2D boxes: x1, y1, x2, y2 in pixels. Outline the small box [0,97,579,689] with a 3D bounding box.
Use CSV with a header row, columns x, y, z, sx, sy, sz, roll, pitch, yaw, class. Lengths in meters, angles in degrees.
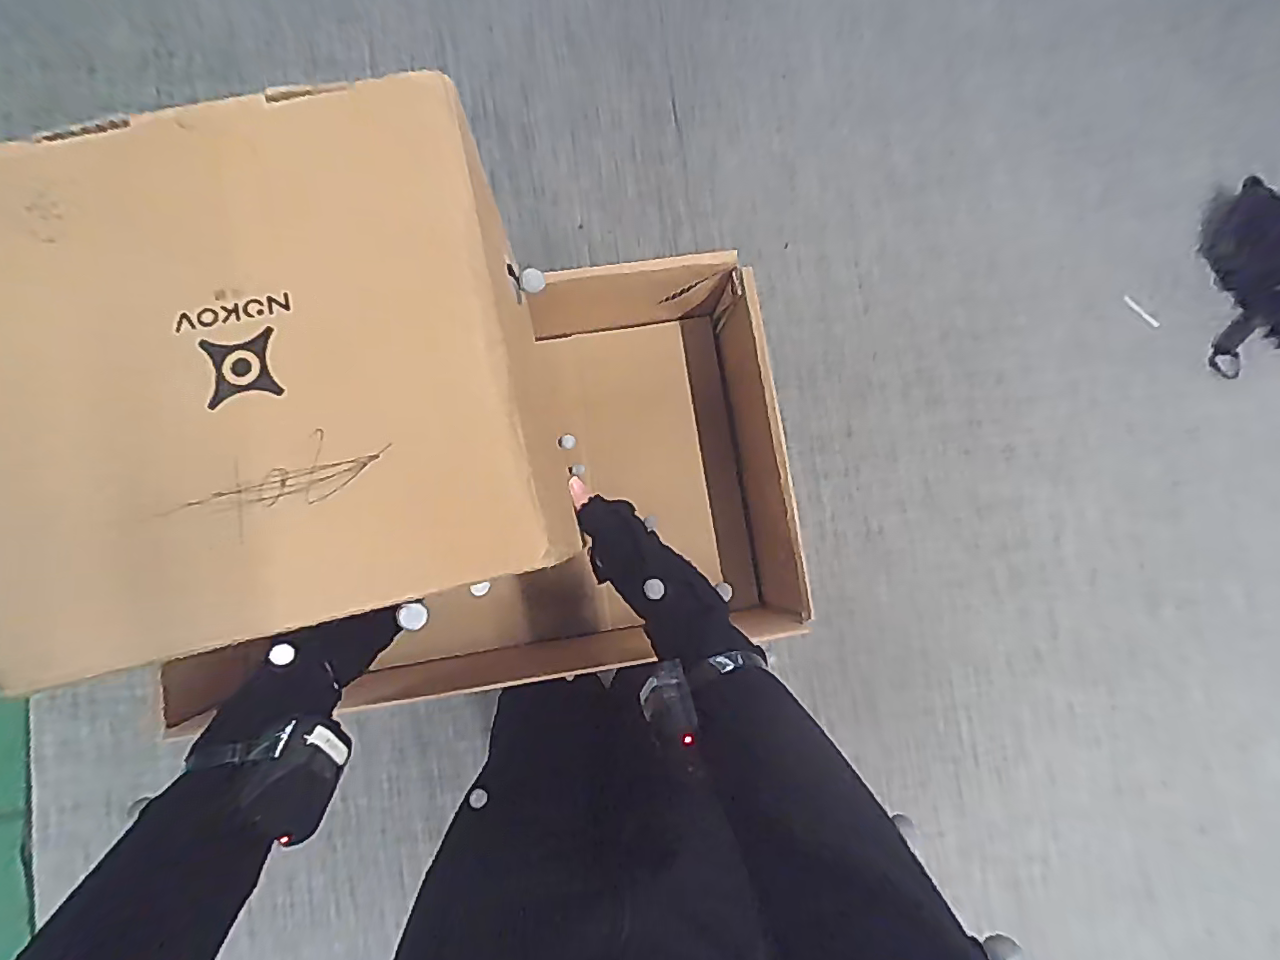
x,y,z,sx,sy,sz,roll,pitch,yaw,class
-0.131,-0.027,0.259,0.168,0.176,0.179,-14,85,-3,small box
